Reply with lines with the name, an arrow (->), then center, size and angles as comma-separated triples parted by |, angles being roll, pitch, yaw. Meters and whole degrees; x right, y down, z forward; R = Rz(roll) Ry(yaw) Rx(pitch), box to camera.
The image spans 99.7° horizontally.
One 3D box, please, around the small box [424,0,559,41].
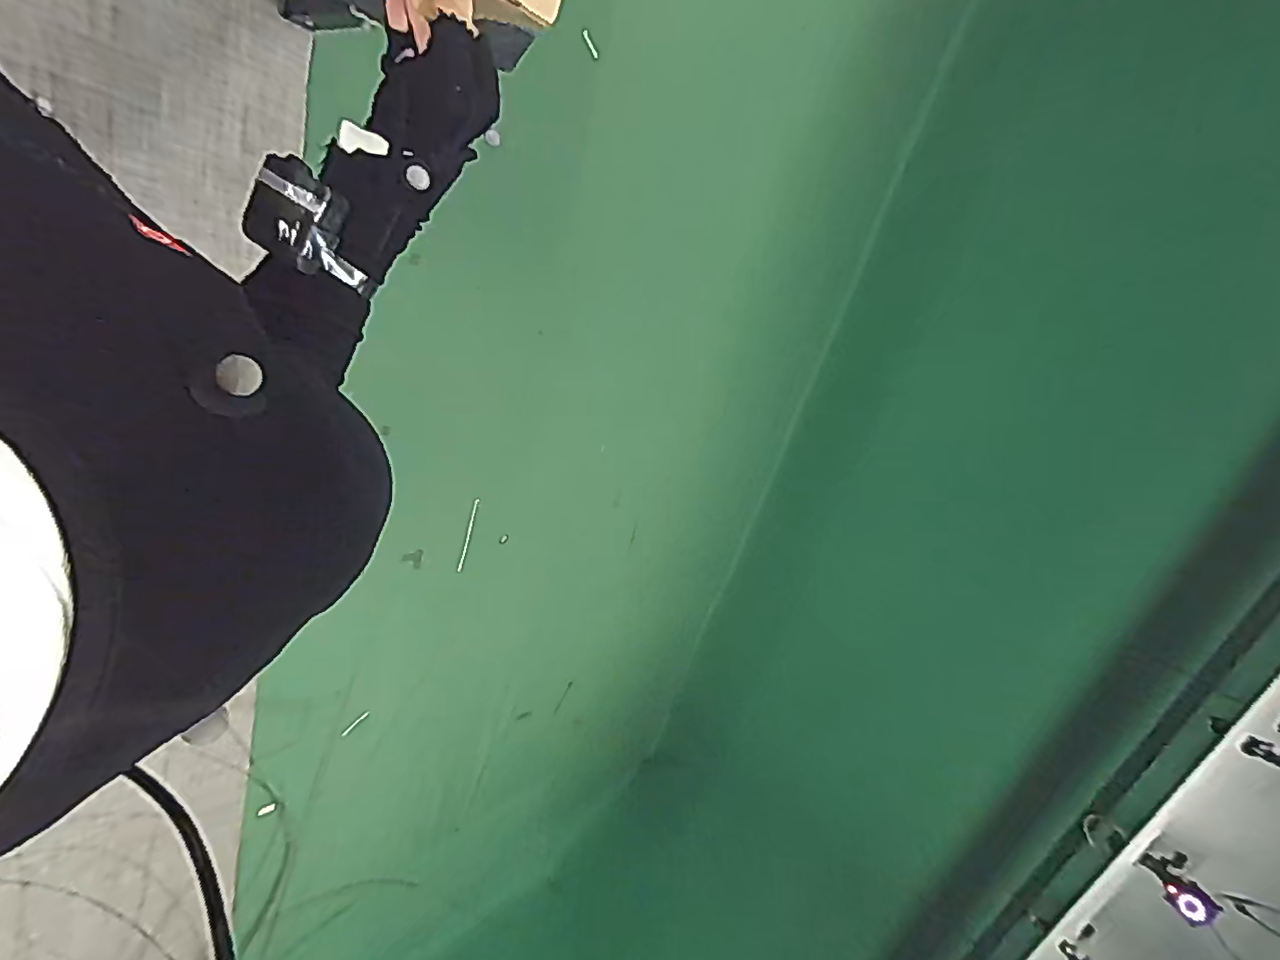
small box -> -0.147, -0.454, 0.372 | 0.168, 0.176, 0.179 | -8, 130, -48
